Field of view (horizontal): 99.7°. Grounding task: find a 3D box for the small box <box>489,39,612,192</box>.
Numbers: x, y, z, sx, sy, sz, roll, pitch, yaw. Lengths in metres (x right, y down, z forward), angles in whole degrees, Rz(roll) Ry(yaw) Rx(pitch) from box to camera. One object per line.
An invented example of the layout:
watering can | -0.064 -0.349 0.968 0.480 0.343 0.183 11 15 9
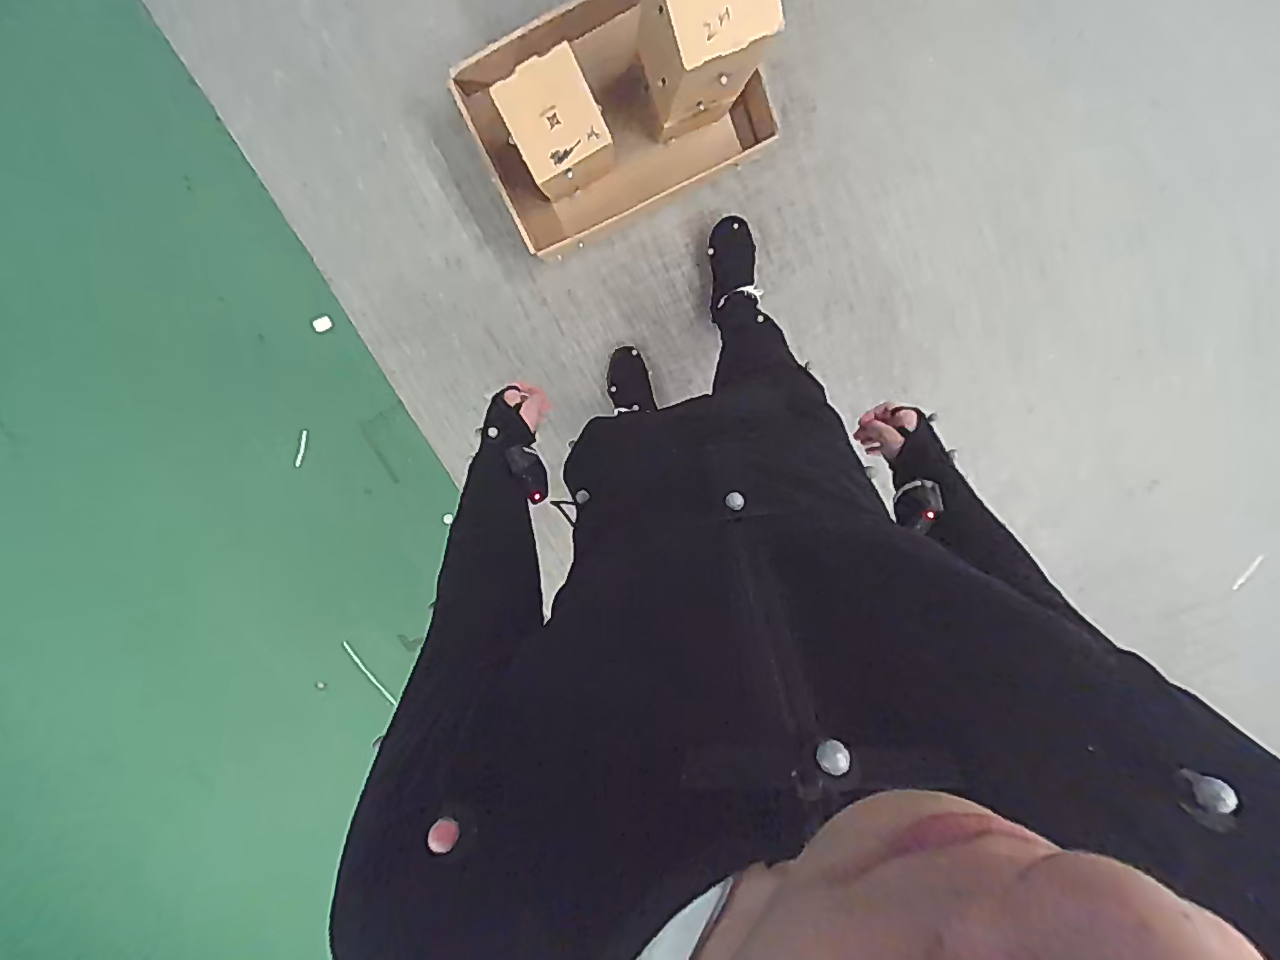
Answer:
small box | -0.165 -0.697 1.060 0.168 0.176 0.179 -26 109 8

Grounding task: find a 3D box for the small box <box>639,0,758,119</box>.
small box | 0.103 -0.826 1.024 0.168 0.176 0.179 -20 112 5

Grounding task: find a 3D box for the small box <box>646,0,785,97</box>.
small box | 0.112 -0.764 0.871 0.168 0.176 0.179 -20 112 5
